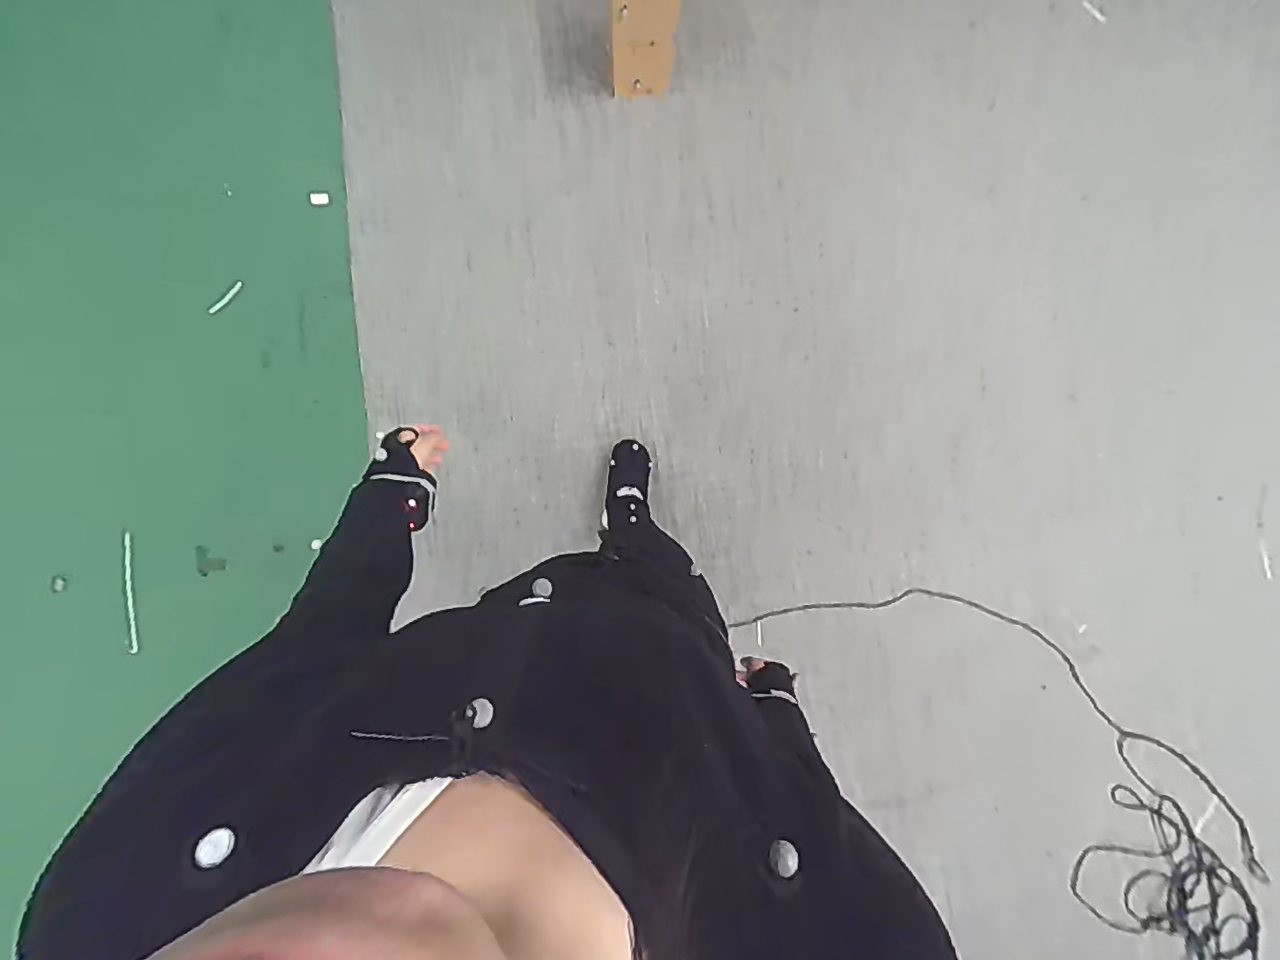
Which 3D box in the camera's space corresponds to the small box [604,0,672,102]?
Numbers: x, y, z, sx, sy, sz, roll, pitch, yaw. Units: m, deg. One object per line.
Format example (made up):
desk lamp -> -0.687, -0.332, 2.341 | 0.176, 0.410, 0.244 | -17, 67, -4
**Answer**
small box -> -0.011, -1.201, 1.508 | 0.168, 0.176, 0.179 | -7, 88, -4
